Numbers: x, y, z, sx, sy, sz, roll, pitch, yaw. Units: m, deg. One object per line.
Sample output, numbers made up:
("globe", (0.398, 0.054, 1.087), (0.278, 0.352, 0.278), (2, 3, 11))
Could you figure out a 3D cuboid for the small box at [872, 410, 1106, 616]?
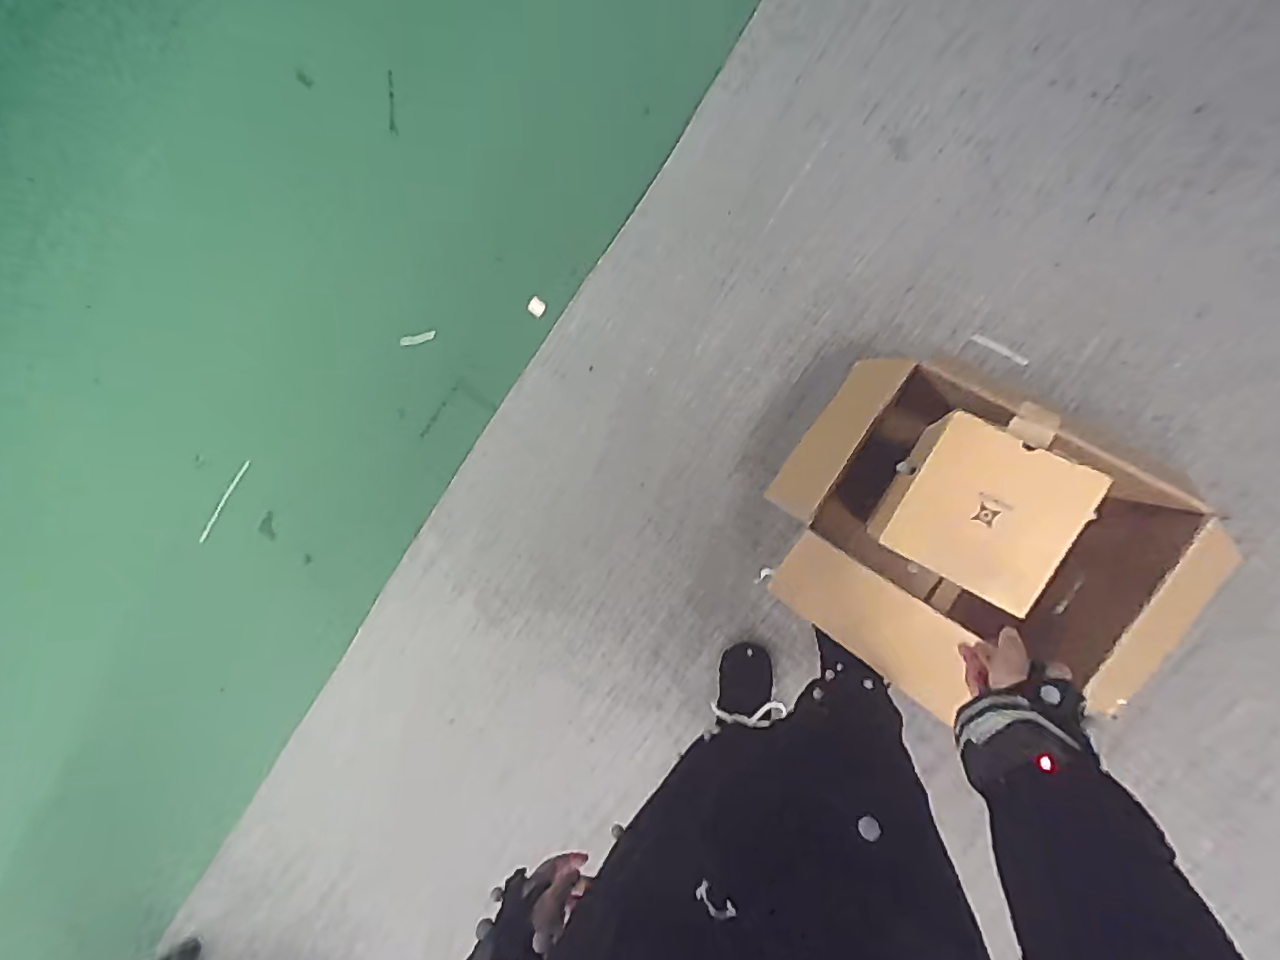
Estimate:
("small box", (0.405, 0.039, 0.668), (0.168, 0.176, 0.179), (29, 96, 18))
